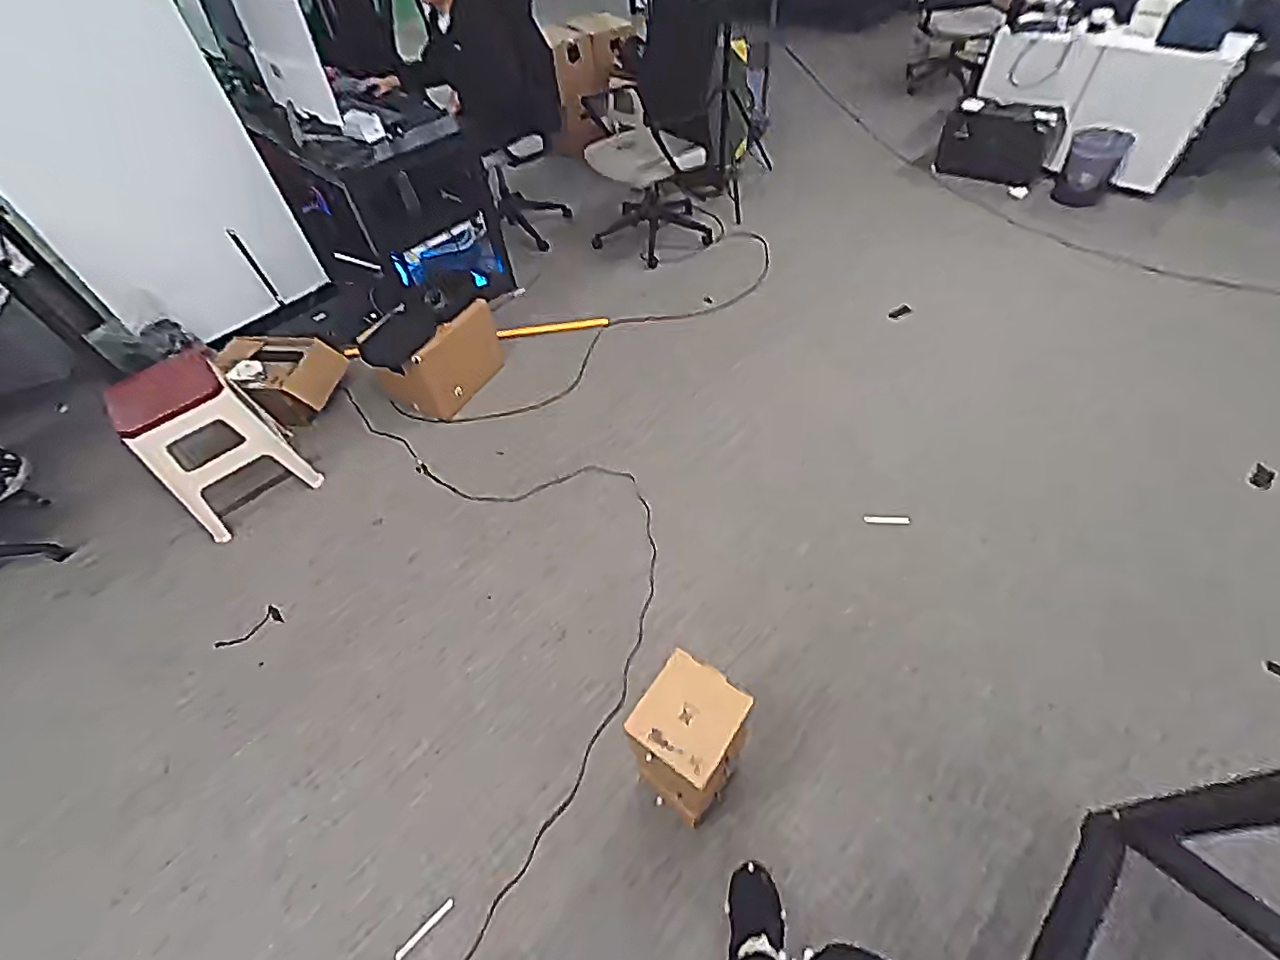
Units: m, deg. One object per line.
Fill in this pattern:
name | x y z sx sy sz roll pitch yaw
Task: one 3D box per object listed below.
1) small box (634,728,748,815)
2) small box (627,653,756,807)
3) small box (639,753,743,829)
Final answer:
small box | 0.108 0.564 1.134 0.168 0.176 0.179 31 58 25
small box | 0.094 0.464 1.002 0.168 0.176 0.179 28 58 26
small box | 0.117 0.670 1.255 0.168 0.176 0.179 33 62 28
